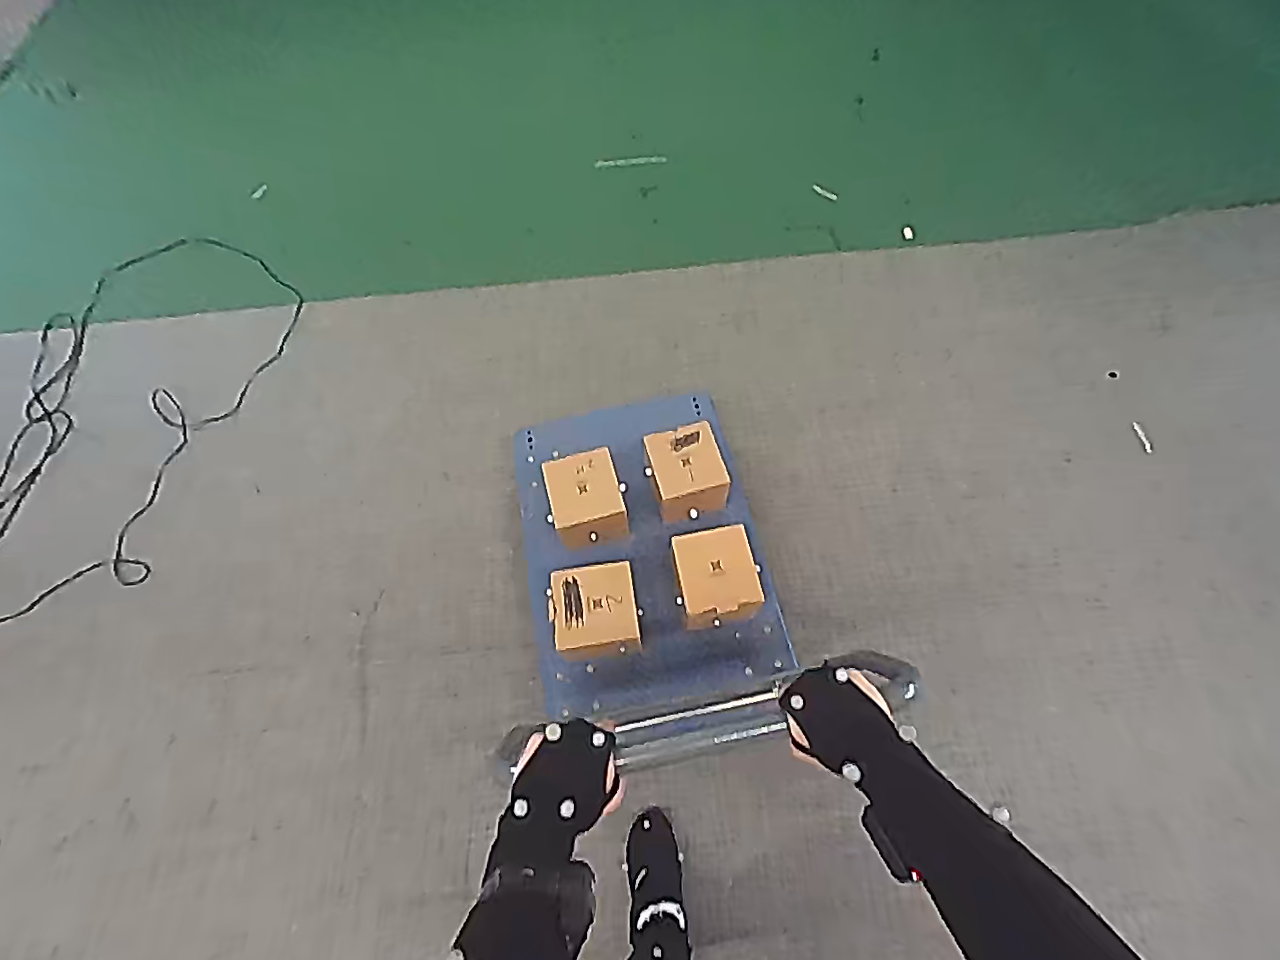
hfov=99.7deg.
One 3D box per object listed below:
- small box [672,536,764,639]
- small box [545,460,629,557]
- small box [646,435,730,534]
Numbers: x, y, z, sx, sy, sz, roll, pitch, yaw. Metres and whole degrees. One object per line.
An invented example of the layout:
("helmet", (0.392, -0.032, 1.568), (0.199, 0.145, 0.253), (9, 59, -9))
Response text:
("small box", (0.170, 0.251, 1.247), (0.168, 0.176, 0.179), (-11, 63, -3))
("small box", (-0.127, 0.080, 1.347), (0.168, 0.176, 0.179), (-14, 63, -6))
("small box", (0.115, 0.015, 1.368), (0.168, 0.176, 0.179), (-15, 64, -4))
